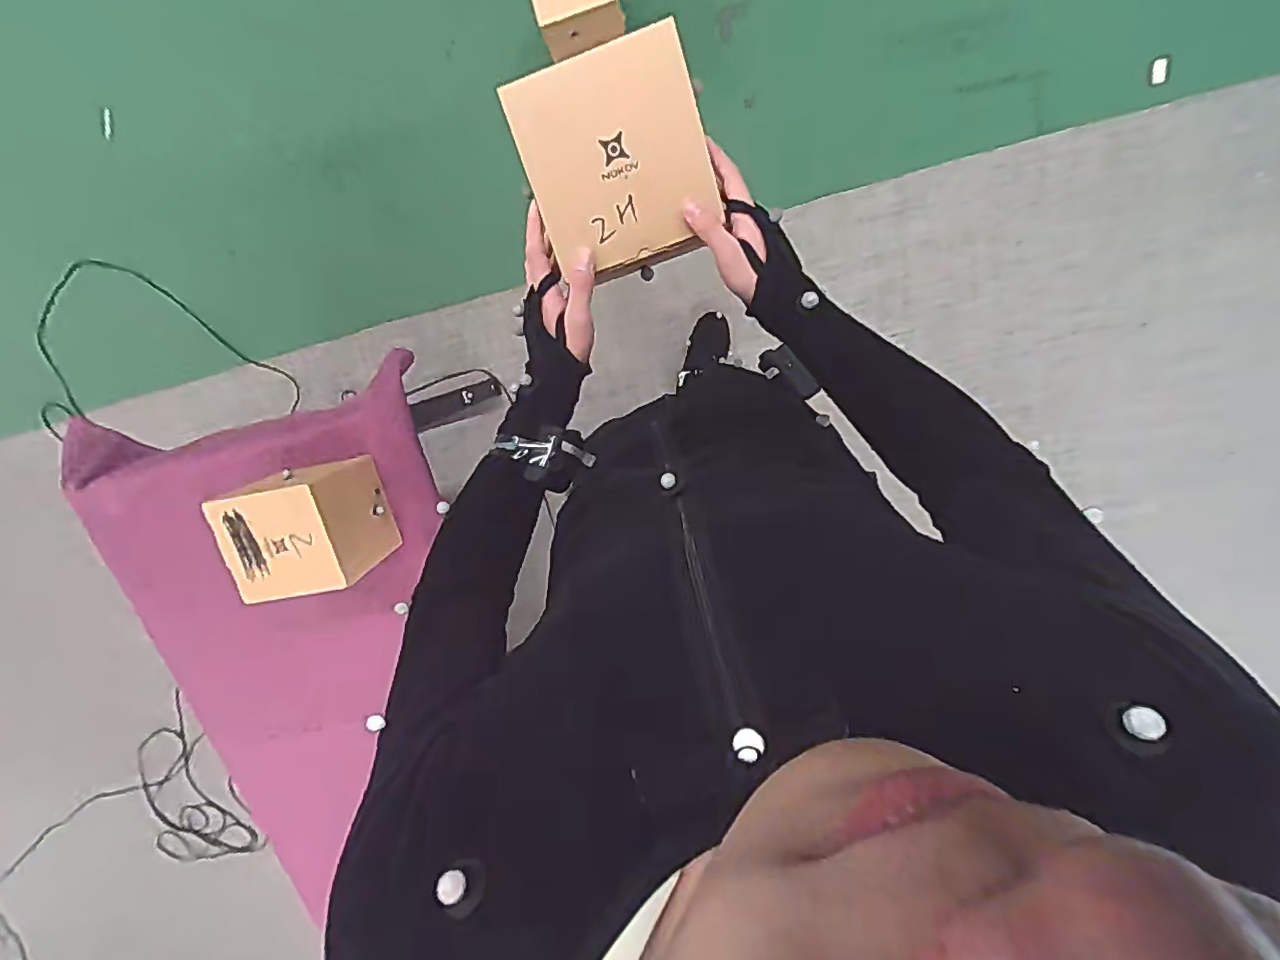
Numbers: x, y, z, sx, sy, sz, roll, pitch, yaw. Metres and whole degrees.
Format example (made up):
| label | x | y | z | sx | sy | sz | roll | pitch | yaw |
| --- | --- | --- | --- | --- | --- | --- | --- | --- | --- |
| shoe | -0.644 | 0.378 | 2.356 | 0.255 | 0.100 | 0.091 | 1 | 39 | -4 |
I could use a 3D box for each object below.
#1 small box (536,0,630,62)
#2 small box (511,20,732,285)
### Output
| label | x | y | z | sx | sy | sz | roll | pitch | yaw |
| --- | --- | --- | --- | --- | --- | --- | --- | --- | --- |
| small box | -0.125 | -1.007 | 1.122 | 0.168 | 0.176 | 0.179 | -13 | 103 | 9 |
| small box | -0.014 | -0.317 | 0.568 | 0.168 | 0.176 | 0.179 | -16 | 107 | 7 |
